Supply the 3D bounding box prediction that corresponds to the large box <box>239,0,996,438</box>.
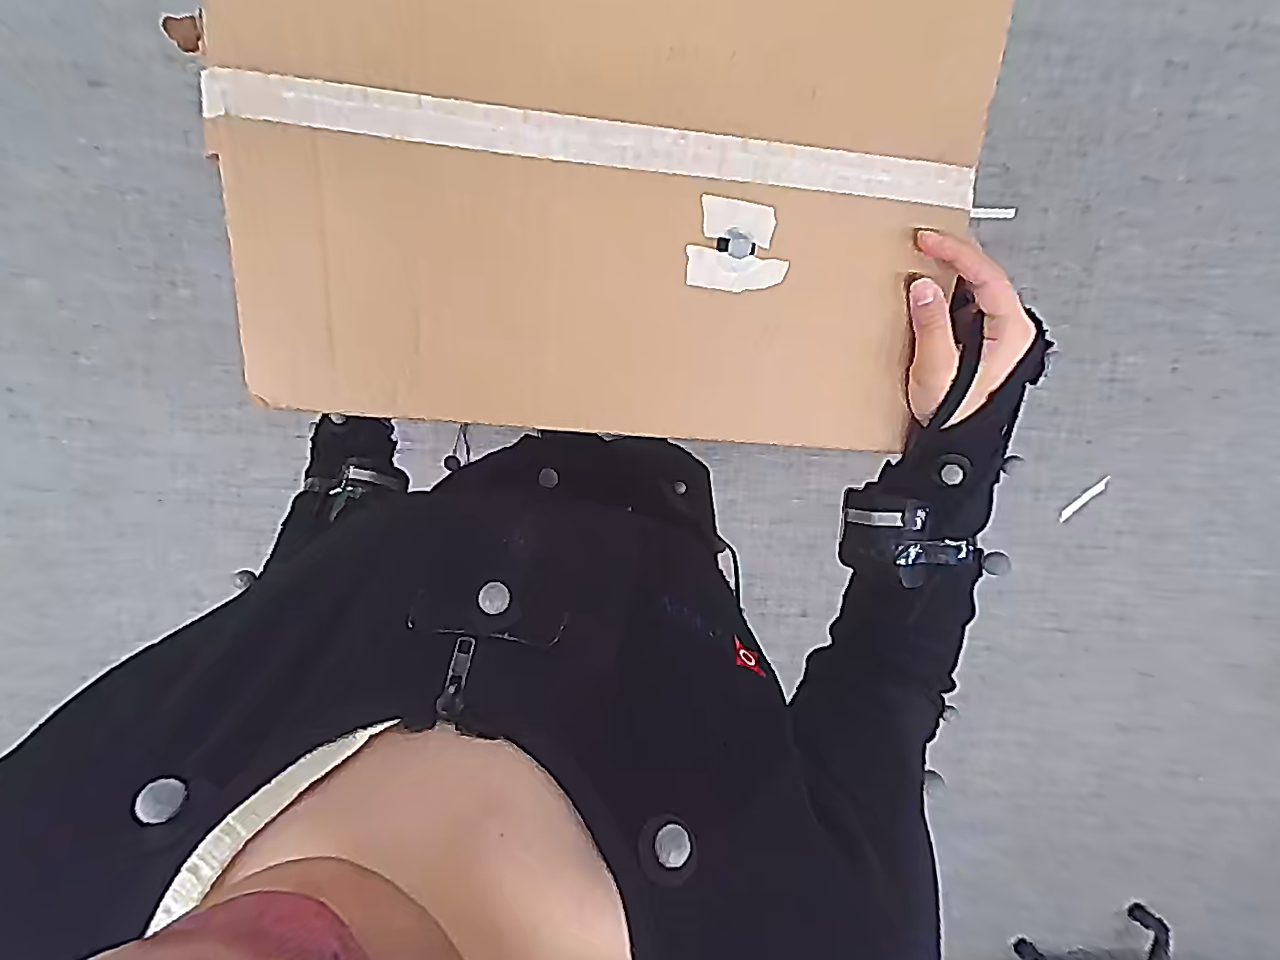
[{"bbox_3d":[-0.024,-0.221,0.444,0.408,0.320,0.320,3,106,-8],"label":"large box"}]
